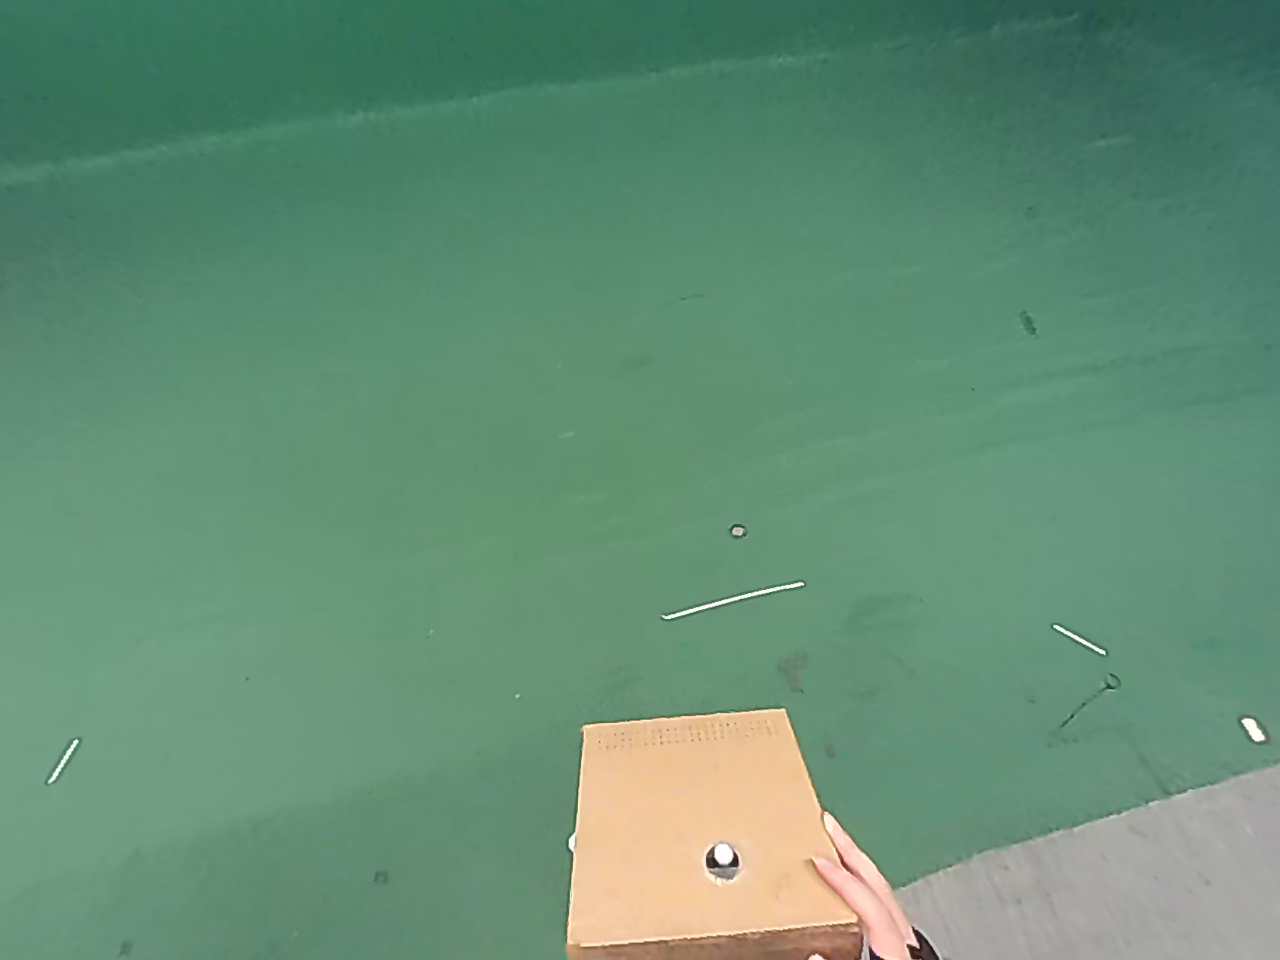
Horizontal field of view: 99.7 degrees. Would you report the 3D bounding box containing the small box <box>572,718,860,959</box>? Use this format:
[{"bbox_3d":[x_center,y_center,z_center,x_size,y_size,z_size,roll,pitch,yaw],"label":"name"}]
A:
[{"bbox_3d":[0.048,0.311,0.422,0.179,0.168,0.176,-5,21,1],"label":"small box"}]
